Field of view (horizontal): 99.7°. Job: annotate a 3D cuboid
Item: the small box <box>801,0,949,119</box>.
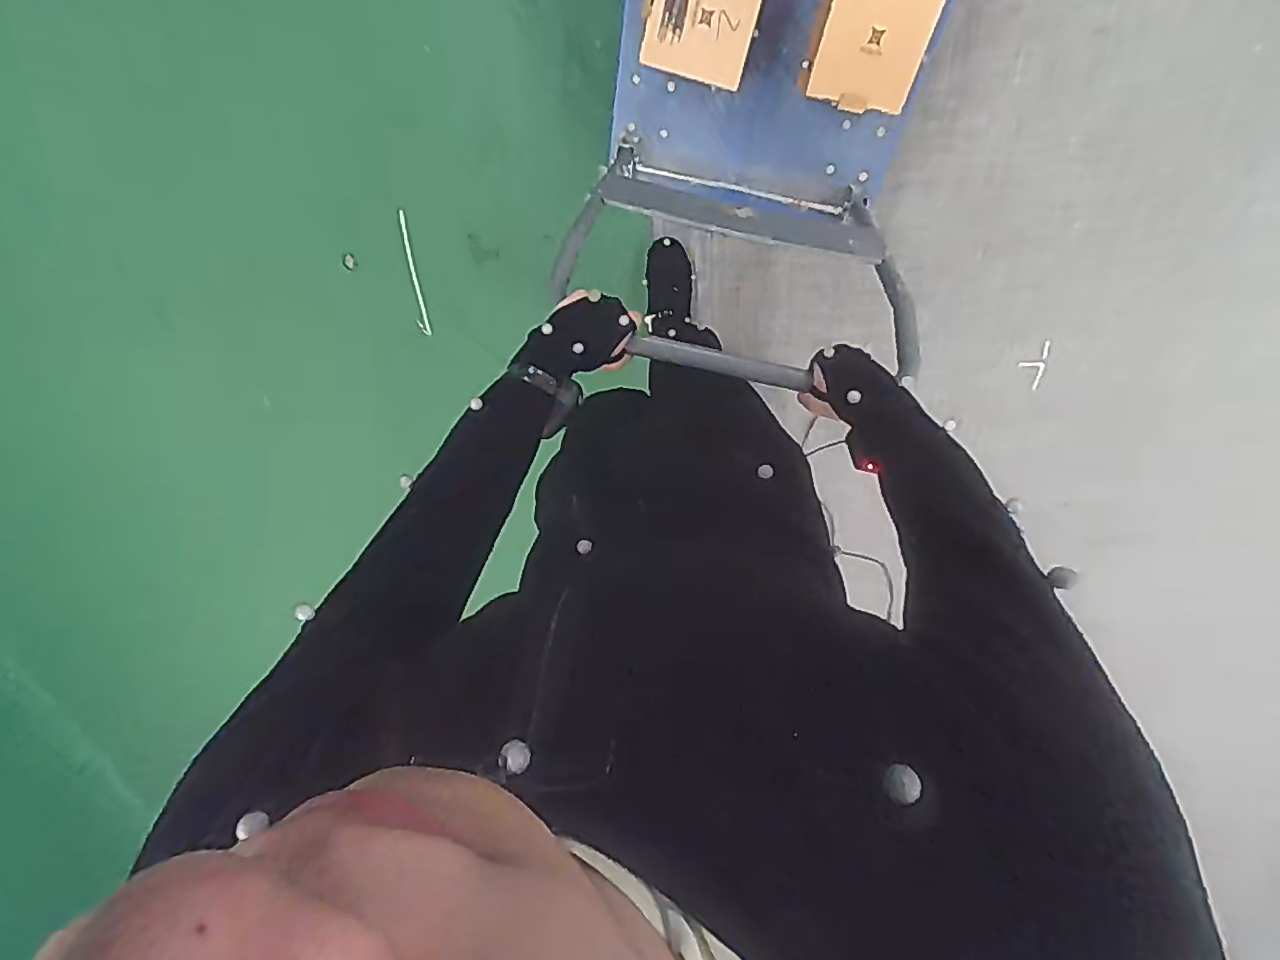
[{"bbox_3d":[0.382,-0.740,0.913,0.168,0.176,0.179,13,132,-1],"label":"small box"}]
